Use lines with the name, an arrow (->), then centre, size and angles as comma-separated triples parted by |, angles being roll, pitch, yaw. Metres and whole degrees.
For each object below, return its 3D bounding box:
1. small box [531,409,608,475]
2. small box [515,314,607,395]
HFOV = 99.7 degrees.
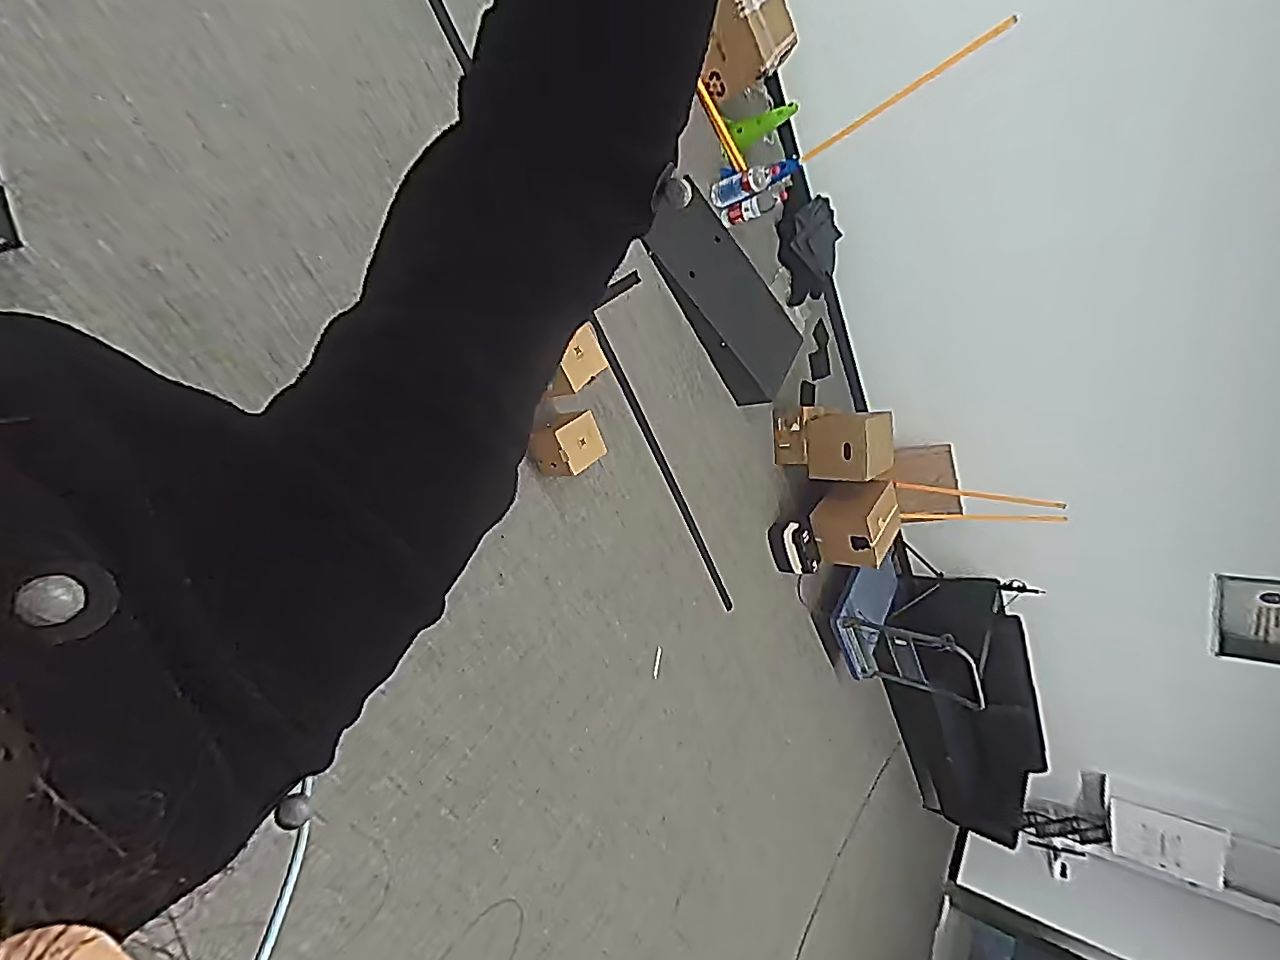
small box -> -0.247, -0.125, 1.839 | 0.179, 0.176, 0.168 | -41, 119, -39
small box -> -0.235, -0.366, 1.611 | 0.168, 0.176, 0.179 | -49, 124, -35
